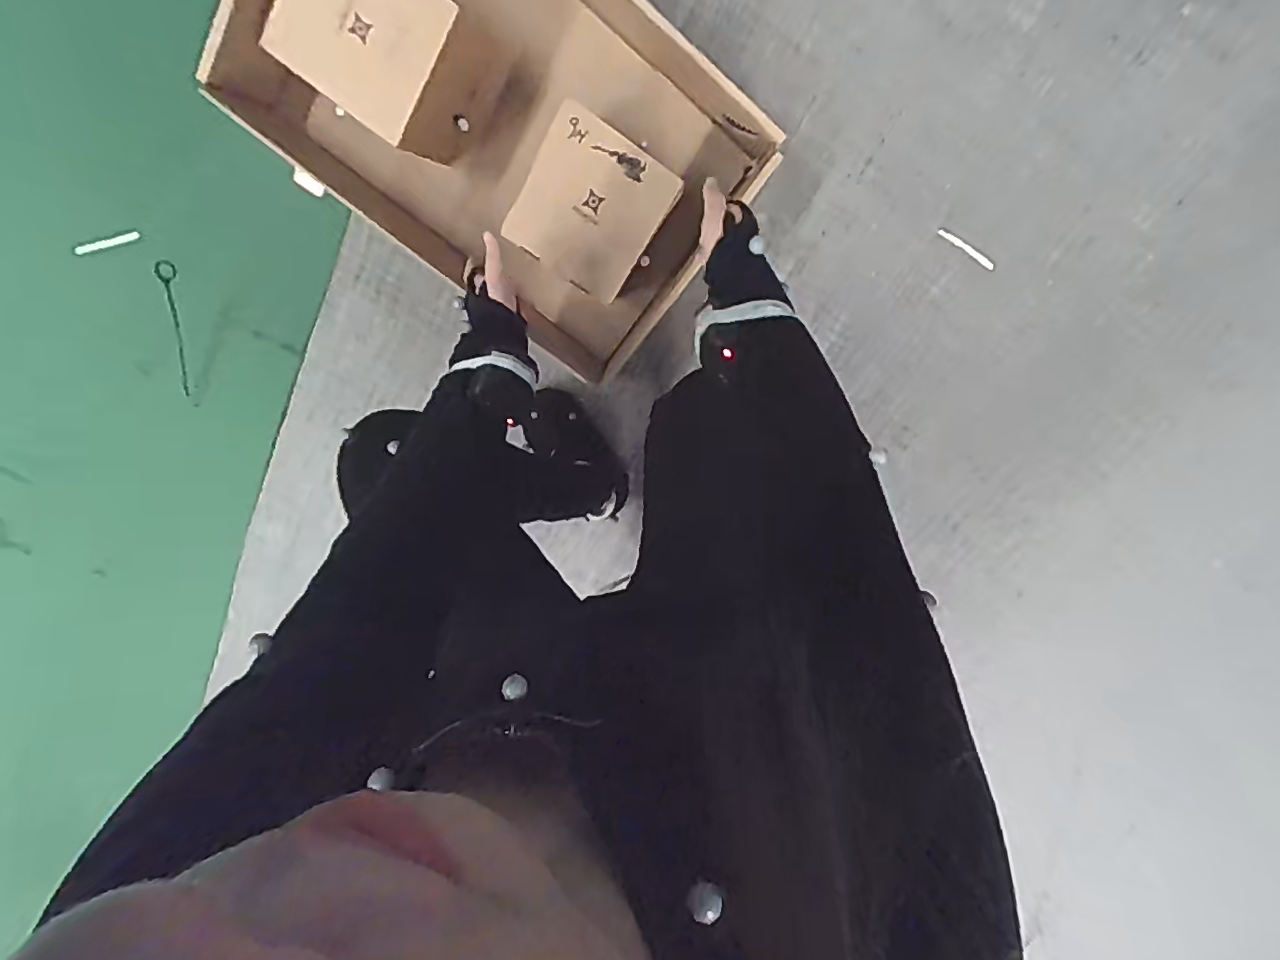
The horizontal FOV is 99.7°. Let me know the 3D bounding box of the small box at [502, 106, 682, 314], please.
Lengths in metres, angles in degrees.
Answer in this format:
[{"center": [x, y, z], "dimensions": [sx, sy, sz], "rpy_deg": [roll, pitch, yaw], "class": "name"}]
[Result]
[{"center": [-0.056, -0.354, 0.736], "dimensions": [0.168, 0.176, 0.179], "rpy_deg": [32, 111, -11], "class": "small box"}]
